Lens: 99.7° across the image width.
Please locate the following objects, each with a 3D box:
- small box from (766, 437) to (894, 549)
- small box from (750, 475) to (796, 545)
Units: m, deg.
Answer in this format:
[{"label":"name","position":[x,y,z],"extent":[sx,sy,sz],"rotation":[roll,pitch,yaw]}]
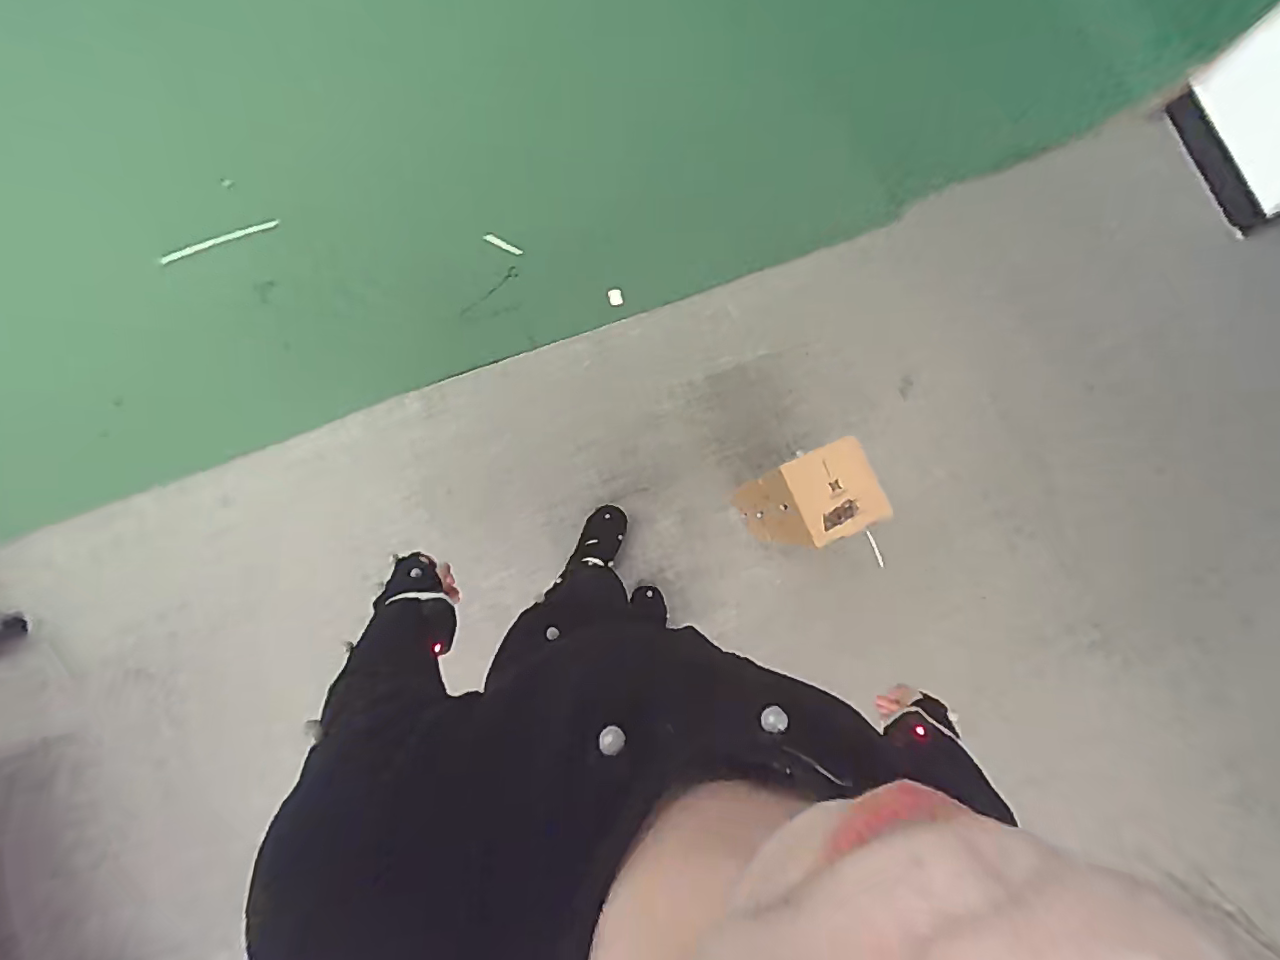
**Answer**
[{"label":"small box","position":[0.380,0.031,1.114],"extent":[0.168,0.176,0.179],"rotation":[-22,83,-2]},{"label":"small box","position":[0.383,0.044,1.278],"extent":[0.179,0.176,0.168],"rotation":[-24,83,-2]}]
